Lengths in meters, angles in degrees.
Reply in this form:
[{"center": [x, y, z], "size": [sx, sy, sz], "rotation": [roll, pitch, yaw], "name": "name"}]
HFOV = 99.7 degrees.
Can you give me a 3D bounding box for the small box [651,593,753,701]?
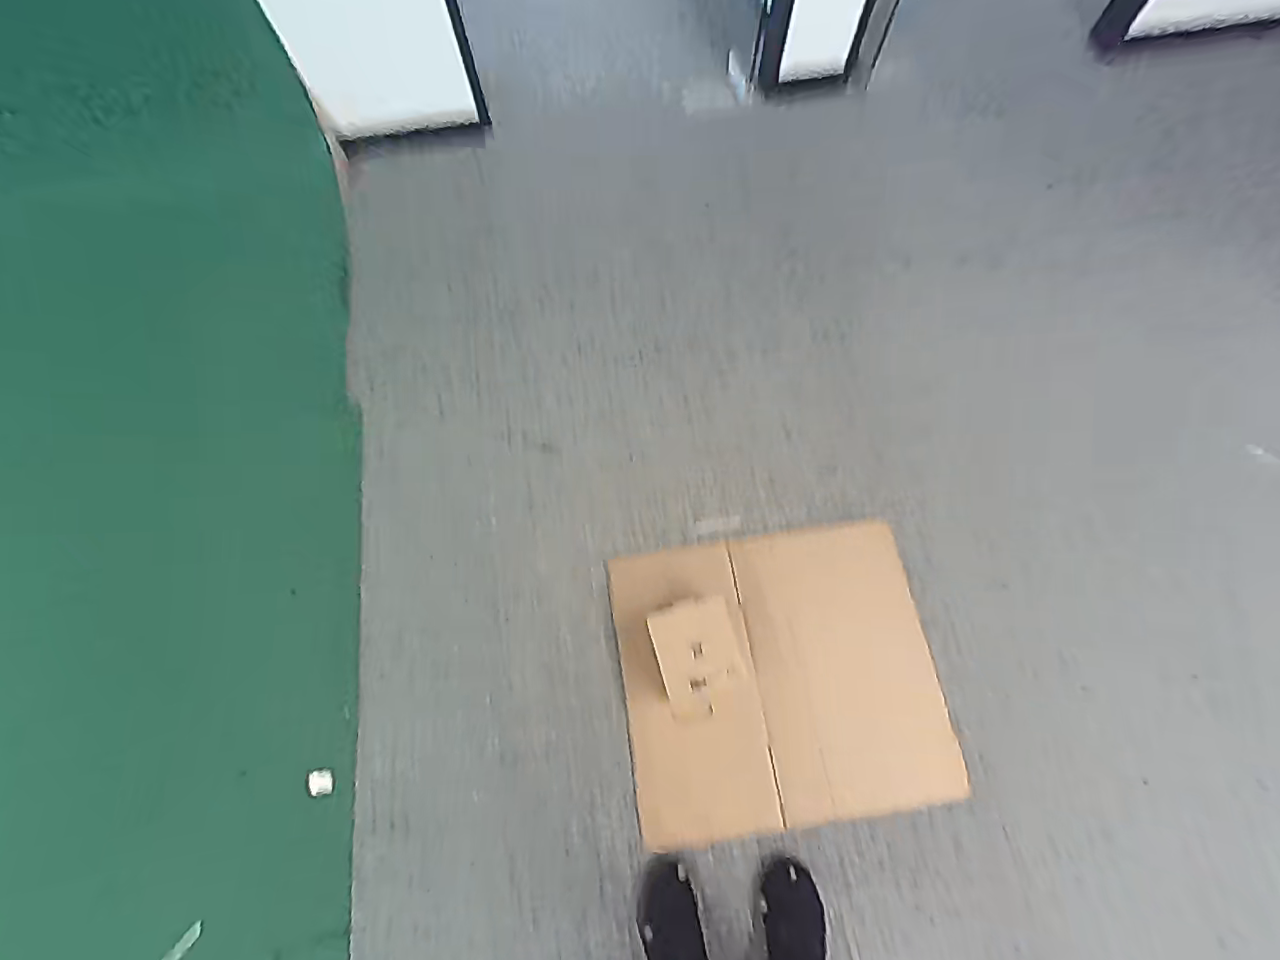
[{"center": [0.121, 0.358, 1.147], "size": [0.168, 0.176, 0.179], "rotation": [-15, 70, -5], "name": "small box"}]
